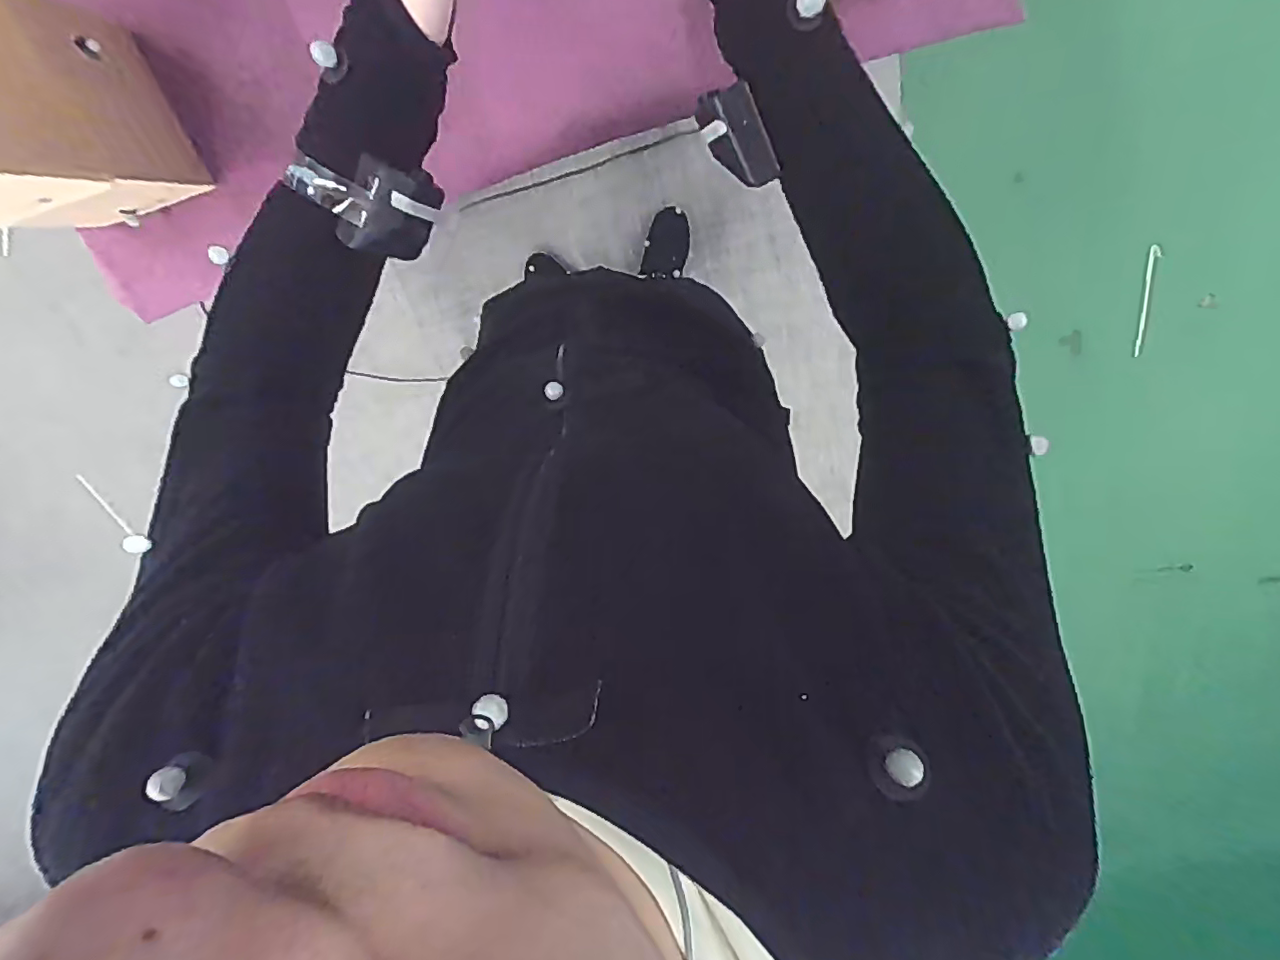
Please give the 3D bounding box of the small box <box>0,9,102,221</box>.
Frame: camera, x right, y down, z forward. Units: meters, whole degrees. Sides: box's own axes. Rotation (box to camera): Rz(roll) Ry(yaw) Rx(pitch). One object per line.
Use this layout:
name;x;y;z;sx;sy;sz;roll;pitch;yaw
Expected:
small box;-0.638;-0.320;0.455;0.168;0.176;0.179;-15;115;6

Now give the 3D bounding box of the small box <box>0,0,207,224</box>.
small box;-0.651;-0.397;0.597;0.168;0.176;0.179;-16;116;6
